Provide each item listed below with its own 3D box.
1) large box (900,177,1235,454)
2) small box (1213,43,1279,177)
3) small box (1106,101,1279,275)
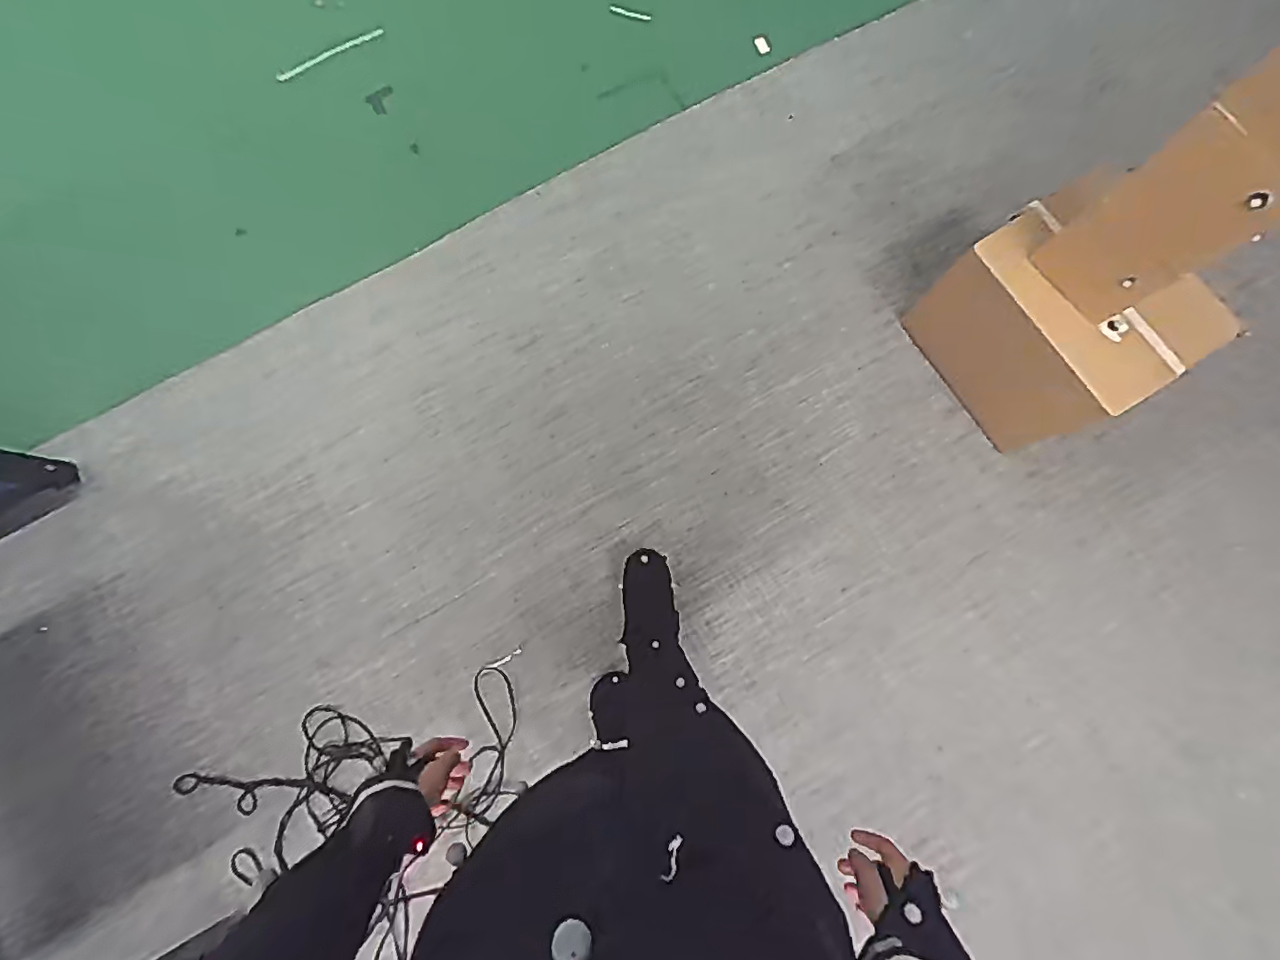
[{"bbox_3d":[0.858,-0.324,1.153,0.320,0.320,0.408,-33,82,-3],"label":"large box"},{"bbox_3d":[0.830,-0.461,0.599,0.168,0.176,0.179,-33,81,-6],"label":"small box"},{"bbox_3d":[0.829,-0.430,0.759,0.168,0.176,0.179,-33,82,-5],"label":"small box"}]
